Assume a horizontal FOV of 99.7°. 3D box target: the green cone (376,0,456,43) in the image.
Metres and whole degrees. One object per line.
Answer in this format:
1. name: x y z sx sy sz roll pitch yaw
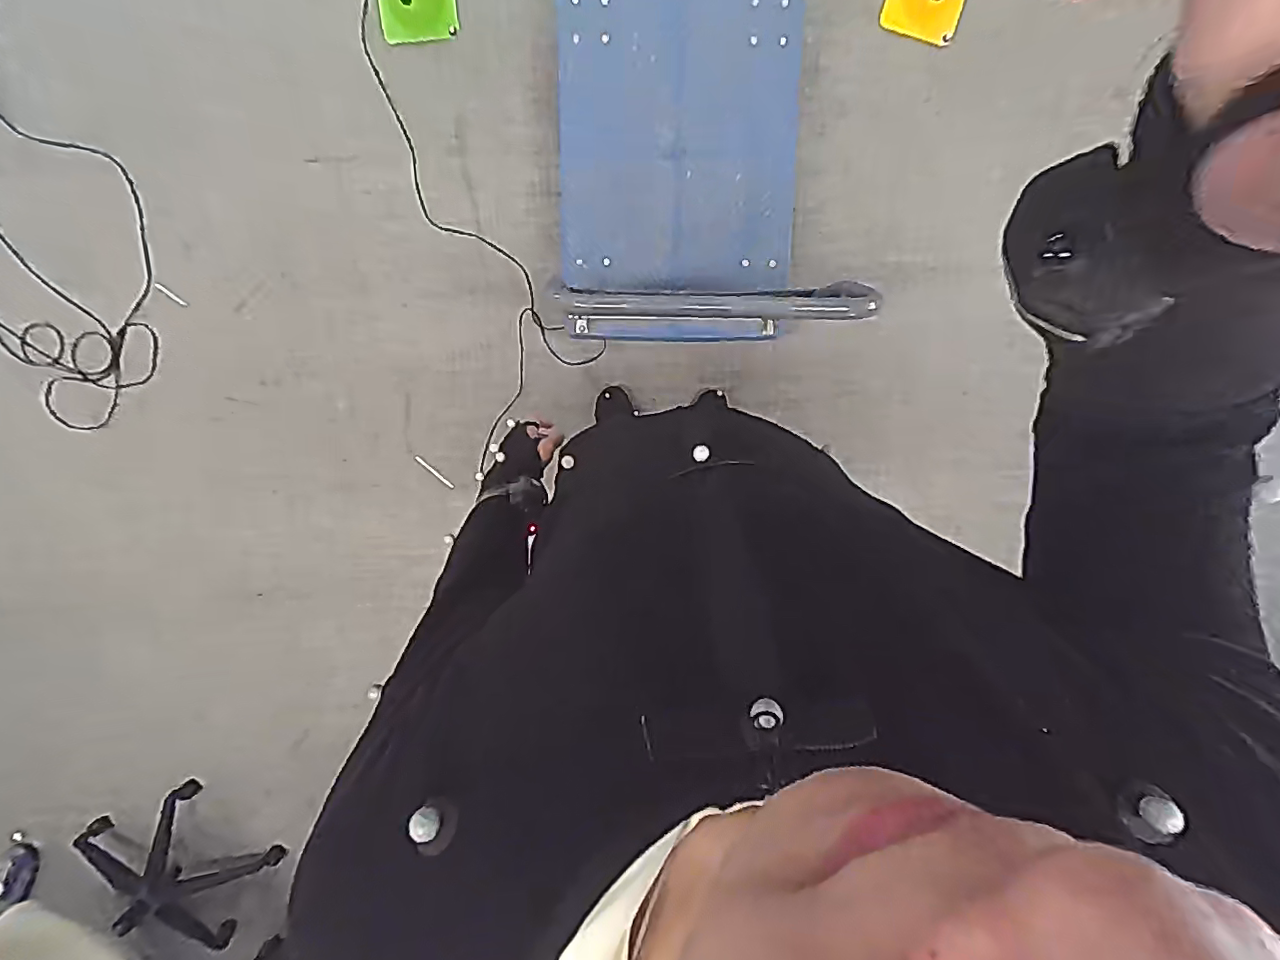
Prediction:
1. green cone: -0.587 -1.218 1.223 0.202 0.368 0.200 -5 100 2
